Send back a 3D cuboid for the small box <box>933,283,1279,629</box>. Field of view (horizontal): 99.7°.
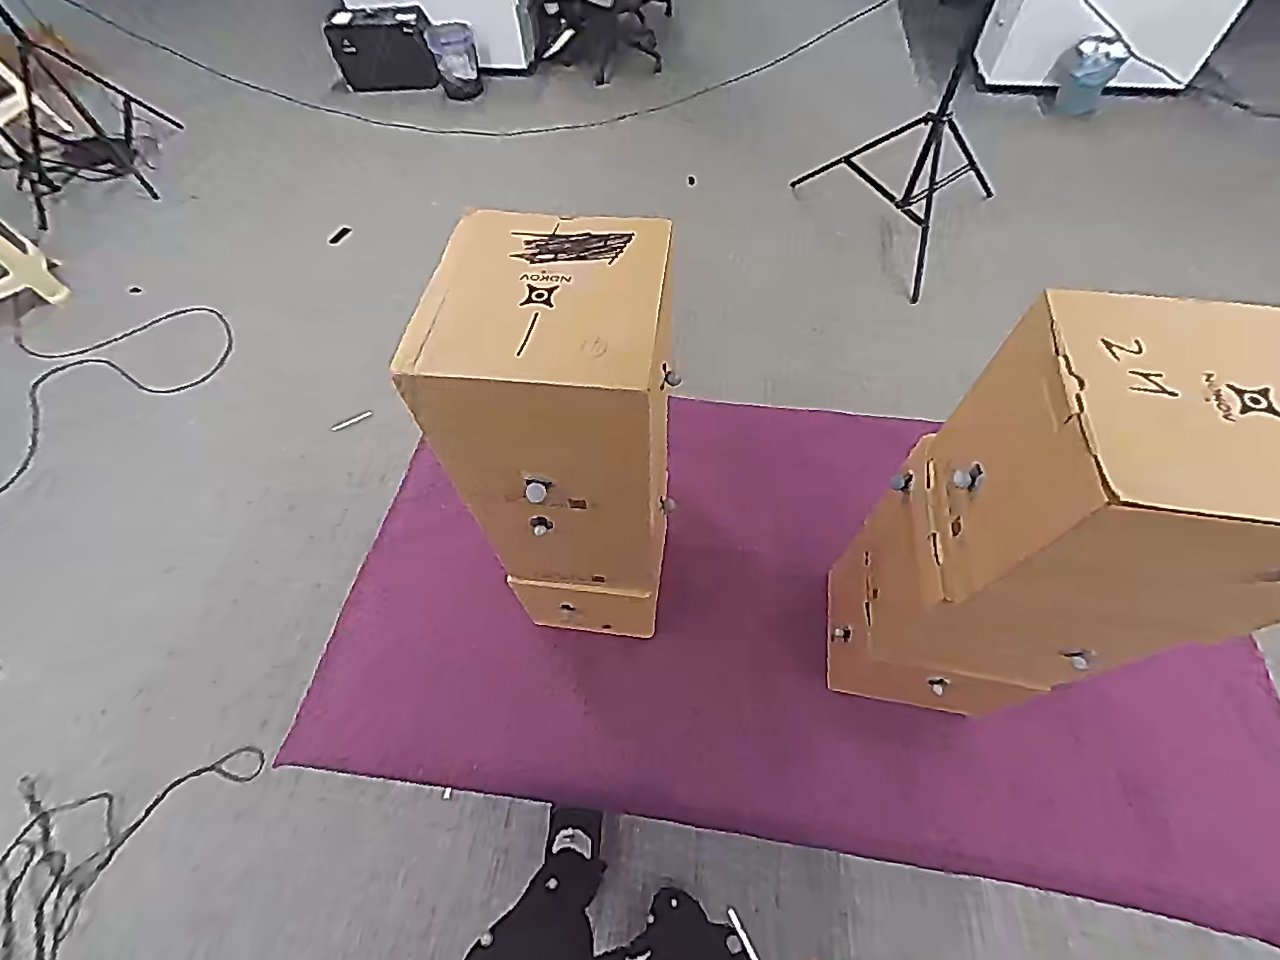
[{"bbox_3d":[0.335,-0.007,0.373,0.179,0.176,0.168,7,58,7],"label":"small box"}]

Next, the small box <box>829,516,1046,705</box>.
[{"bbox_3d":[0.336,0.164,0.655,0.179,0.176,0.168,8,59,6],"label":"small box"}]

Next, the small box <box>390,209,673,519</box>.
[{"bbox_3d":[-0.064,-0.089,0.440,0.168,0.176,0.179,4,58,5],"label":"small box"}]

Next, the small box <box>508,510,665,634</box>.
[{"bbox_3d":[-0.057,0.092,0.715,0.168,0.176,0.179,5,57,5],"label":"small box"}]

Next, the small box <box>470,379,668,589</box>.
[{"bbox_3d":[-0.060,-0.002,0.581,0.168,0.176,0.179,4,57,5],"label":"small box"}]
